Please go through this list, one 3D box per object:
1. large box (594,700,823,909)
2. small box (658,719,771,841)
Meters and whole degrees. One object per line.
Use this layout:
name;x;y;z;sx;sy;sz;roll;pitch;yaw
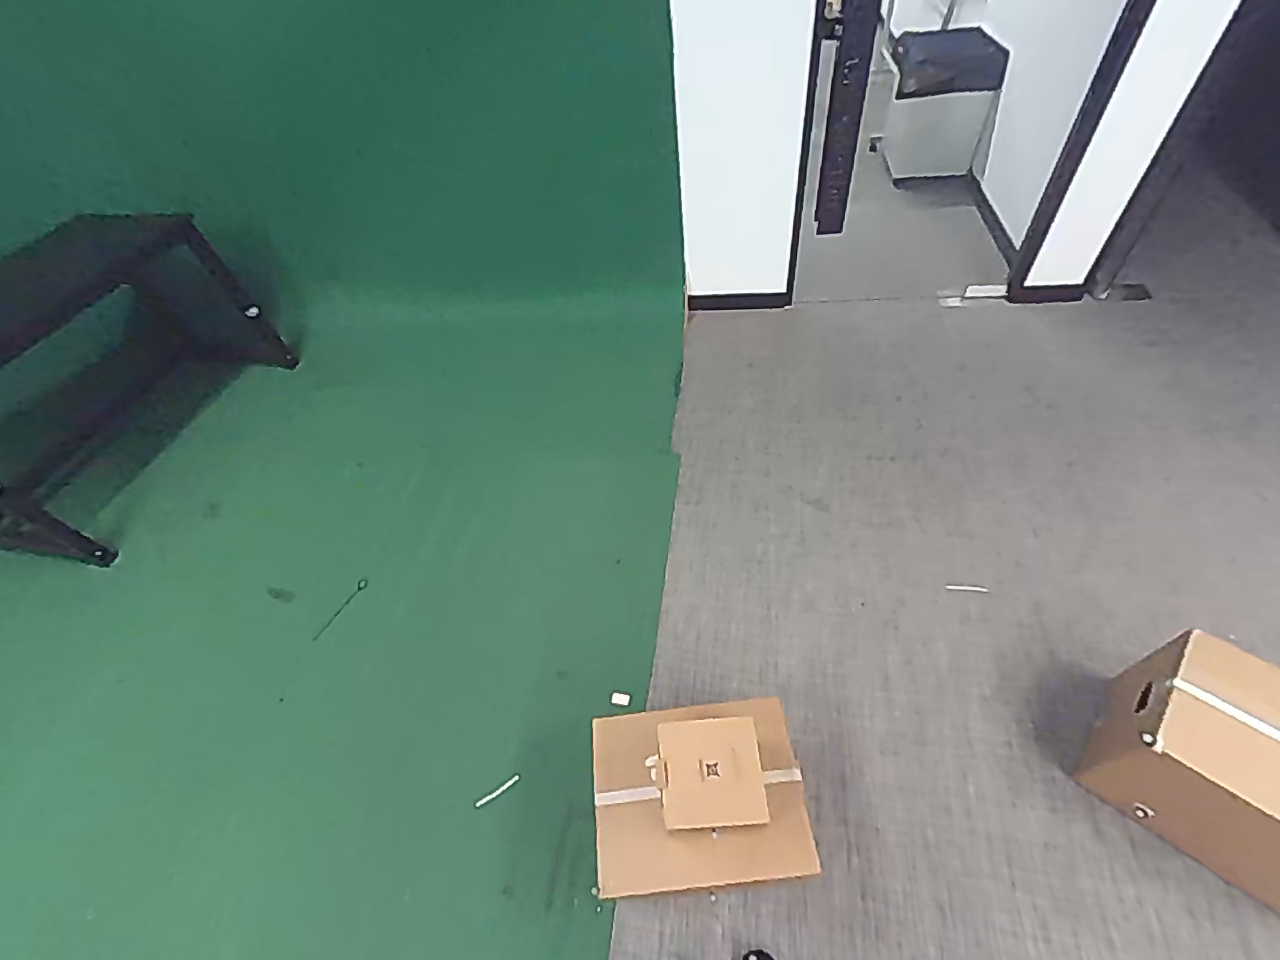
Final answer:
large box;0.134;0.705;1.164;0.408;0.320;0.320;-9;49;3
small box;0.131;0.545;0.975;0.179;0.176;0.168;-6;52;4
